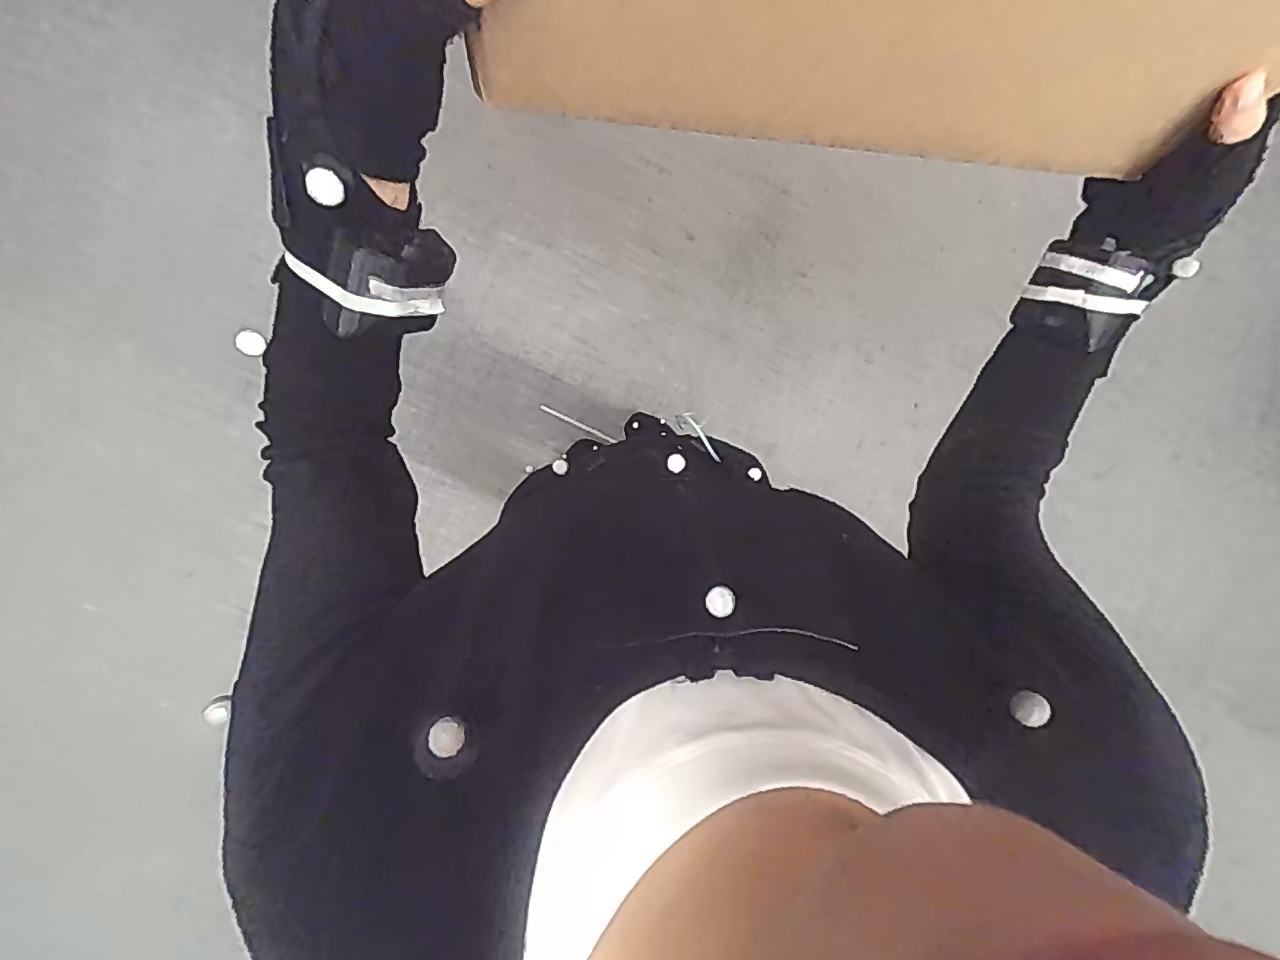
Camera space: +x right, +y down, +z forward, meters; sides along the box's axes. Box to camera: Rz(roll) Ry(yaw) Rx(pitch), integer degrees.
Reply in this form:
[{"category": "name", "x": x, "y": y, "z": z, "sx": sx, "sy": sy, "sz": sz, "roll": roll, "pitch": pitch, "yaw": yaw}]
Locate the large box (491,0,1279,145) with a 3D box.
[{"category": "large box", "x": 0.139, "y": -0.363, "z": 0.177, "sx": 0.408, "sy": 0.320, "sz": 0.320, "roll": -3, "pitch": 86, "yaw": -12}]
